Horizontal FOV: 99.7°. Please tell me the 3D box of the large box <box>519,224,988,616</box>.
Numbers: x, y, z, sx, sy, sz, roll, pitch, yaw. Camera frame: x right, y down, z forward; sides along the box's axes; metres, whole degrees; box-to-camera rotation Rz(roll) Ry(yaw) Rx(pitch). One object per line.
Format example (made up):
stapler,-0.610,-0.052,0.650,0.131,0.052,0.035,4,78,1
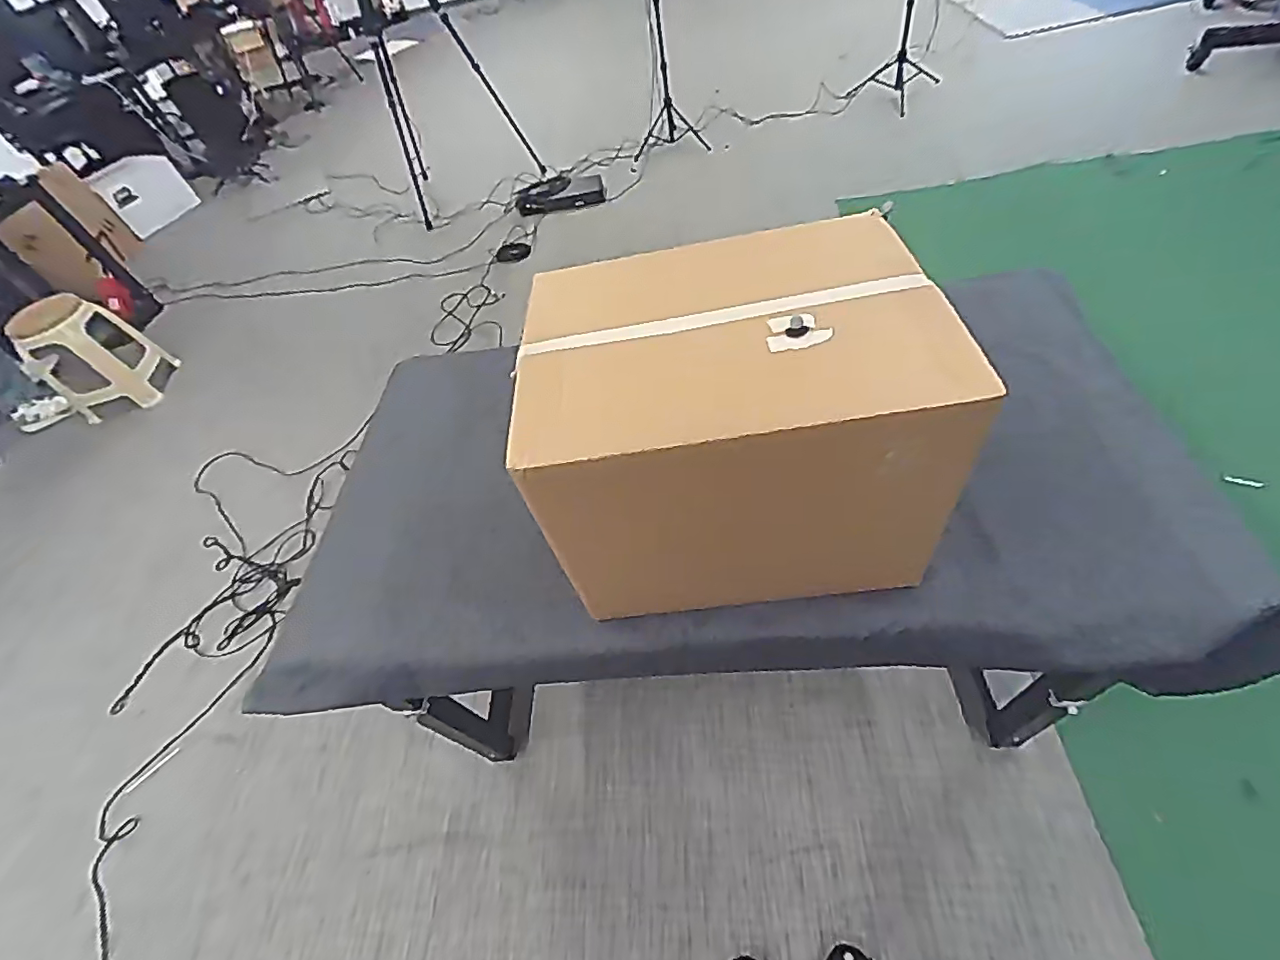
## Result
large box,0.102,-0.060,0.659,0.408,0.320,0.320,-8,50,5
